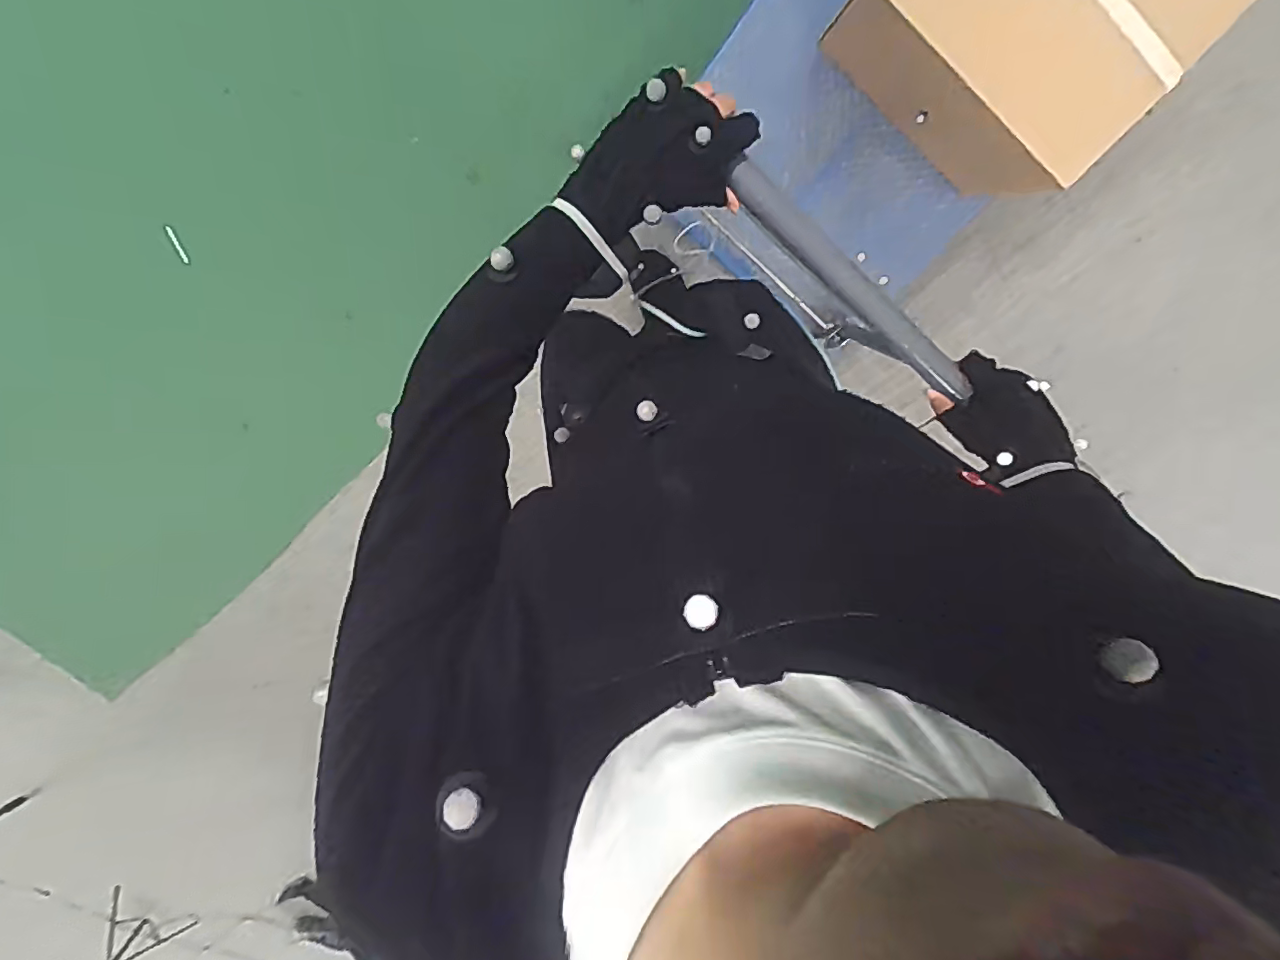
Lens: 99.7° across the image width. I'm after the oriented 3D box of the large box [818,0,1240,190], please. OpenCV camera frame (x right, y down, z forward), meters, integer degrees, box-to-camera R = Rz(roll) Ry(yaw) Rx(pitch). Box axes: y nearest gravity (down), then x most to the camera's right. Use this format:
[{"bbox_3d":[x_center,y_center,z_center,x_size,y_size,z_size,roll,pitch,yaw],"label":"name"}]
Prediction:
[{"bbox_3d":[0.547,-0.705,0.814,0.408,0.320,0.320,36,113,-11],"label":"large box"}]
